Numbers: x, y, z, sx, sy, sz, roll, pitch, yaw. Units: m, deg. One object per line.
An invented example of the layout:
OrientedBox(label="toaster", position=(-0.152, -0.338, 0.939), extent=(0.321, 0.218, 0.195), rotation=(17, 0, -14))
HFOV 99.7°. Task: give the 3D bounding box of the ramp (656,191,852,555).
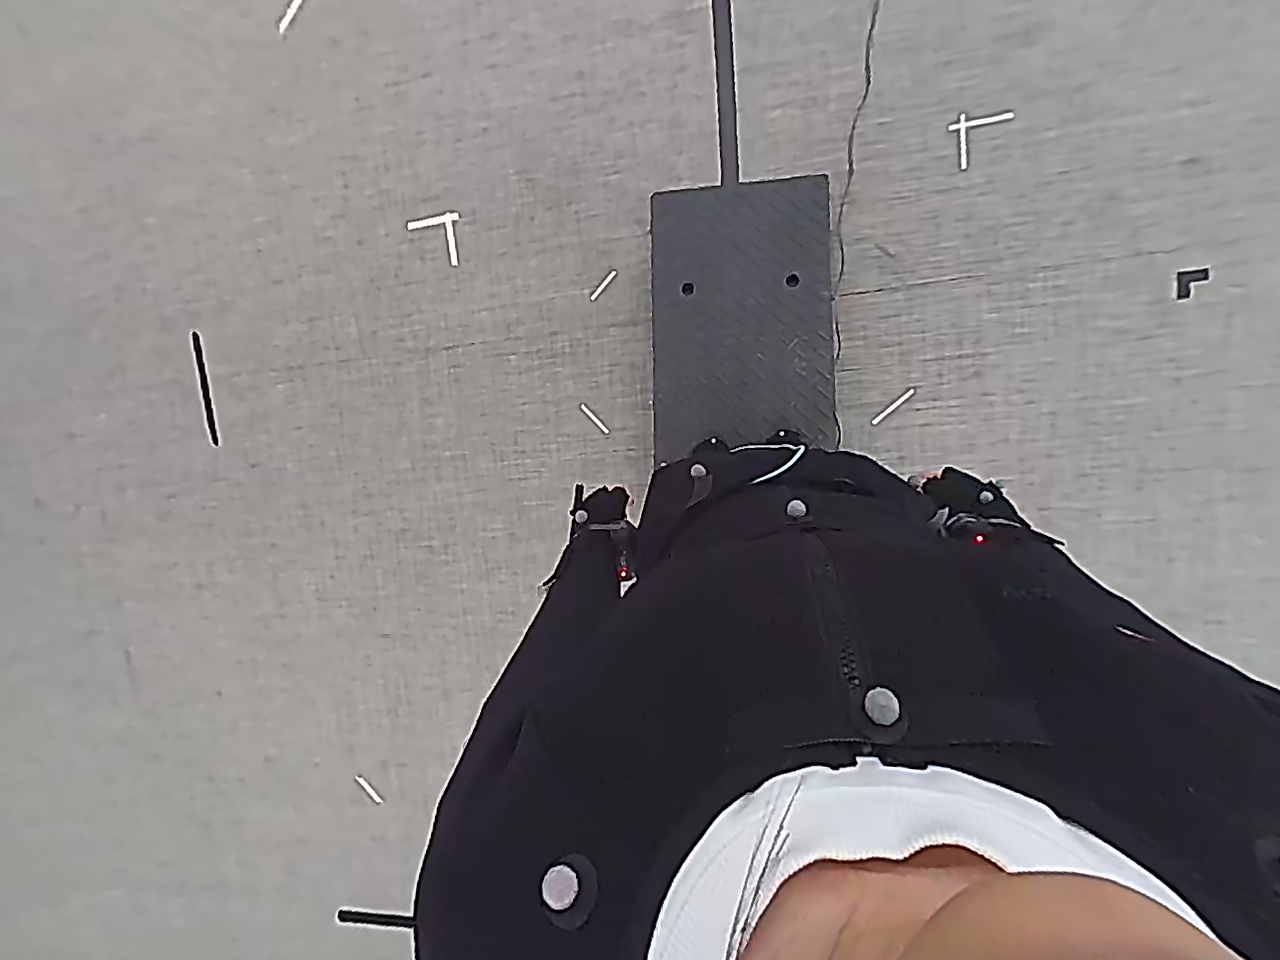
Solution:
OrientedBox(label="ramp", position=(0.297, -0.297, 1.498), extent=(0.509, 0.206, 0.991), rotation=(-4, 94, 12))
